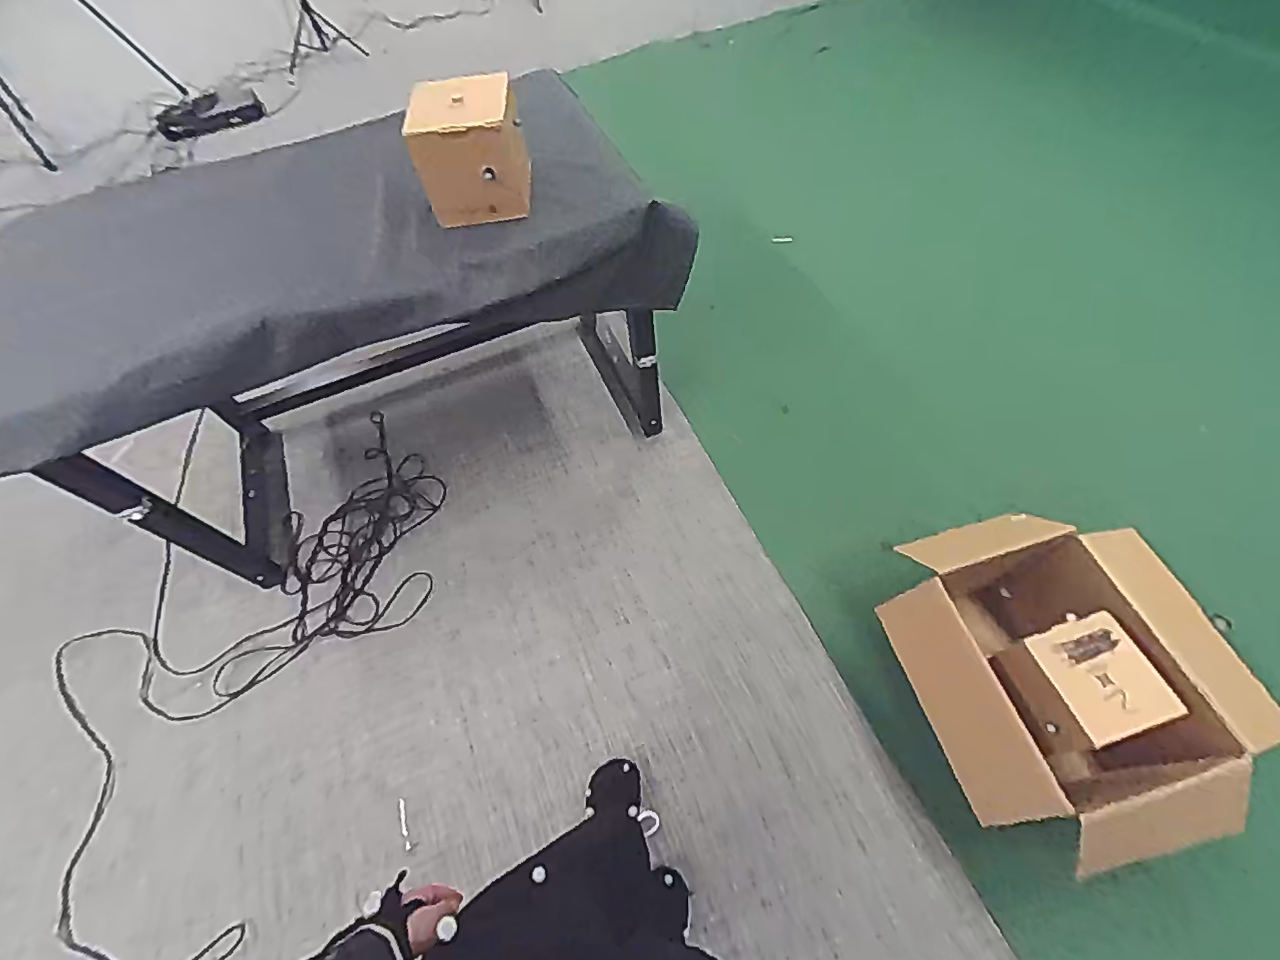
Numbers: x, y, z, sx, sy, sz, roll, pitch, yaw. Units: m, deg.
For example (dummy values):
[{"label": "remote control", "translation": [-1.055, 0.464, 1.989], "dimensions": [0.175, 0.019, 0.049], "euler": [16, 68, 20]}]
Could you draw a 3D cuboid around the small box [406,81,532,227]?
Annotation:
[{"label": "small box", "translation": [-0.296, -0.579, 0.977], "dimensions": [0.168, 0.176, 0.179], "euler": [-6, 57, 1]}]
